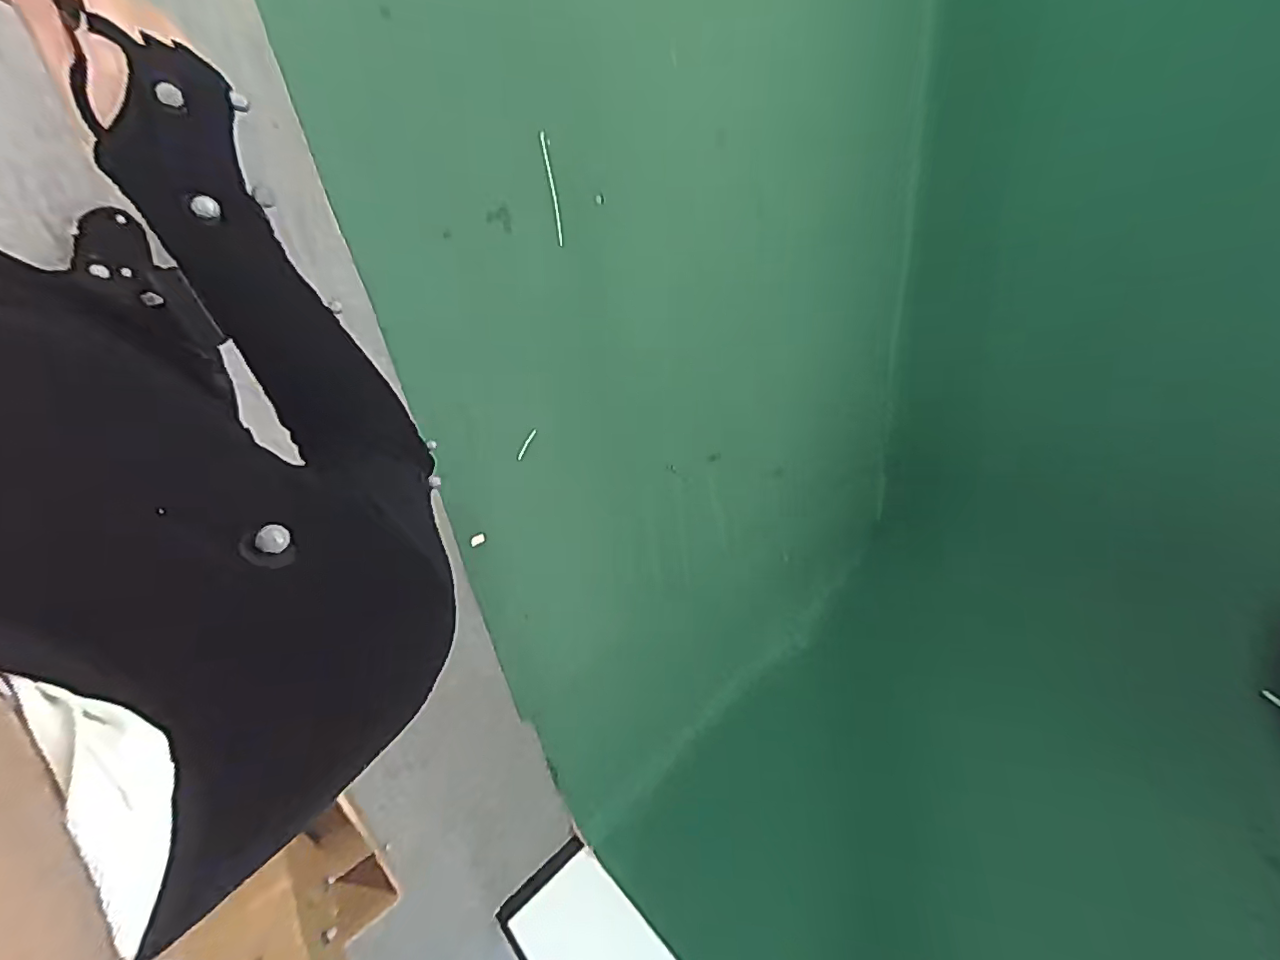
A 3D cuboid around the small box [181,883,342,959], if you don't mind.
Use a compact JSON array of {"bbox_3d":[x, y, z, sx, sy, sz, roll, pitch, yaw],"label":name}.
[{"bbox_3d":[-0.584,0.785,0.839,0.179,0.176,0.168,-32,127,-29],"label":"small box"}]
